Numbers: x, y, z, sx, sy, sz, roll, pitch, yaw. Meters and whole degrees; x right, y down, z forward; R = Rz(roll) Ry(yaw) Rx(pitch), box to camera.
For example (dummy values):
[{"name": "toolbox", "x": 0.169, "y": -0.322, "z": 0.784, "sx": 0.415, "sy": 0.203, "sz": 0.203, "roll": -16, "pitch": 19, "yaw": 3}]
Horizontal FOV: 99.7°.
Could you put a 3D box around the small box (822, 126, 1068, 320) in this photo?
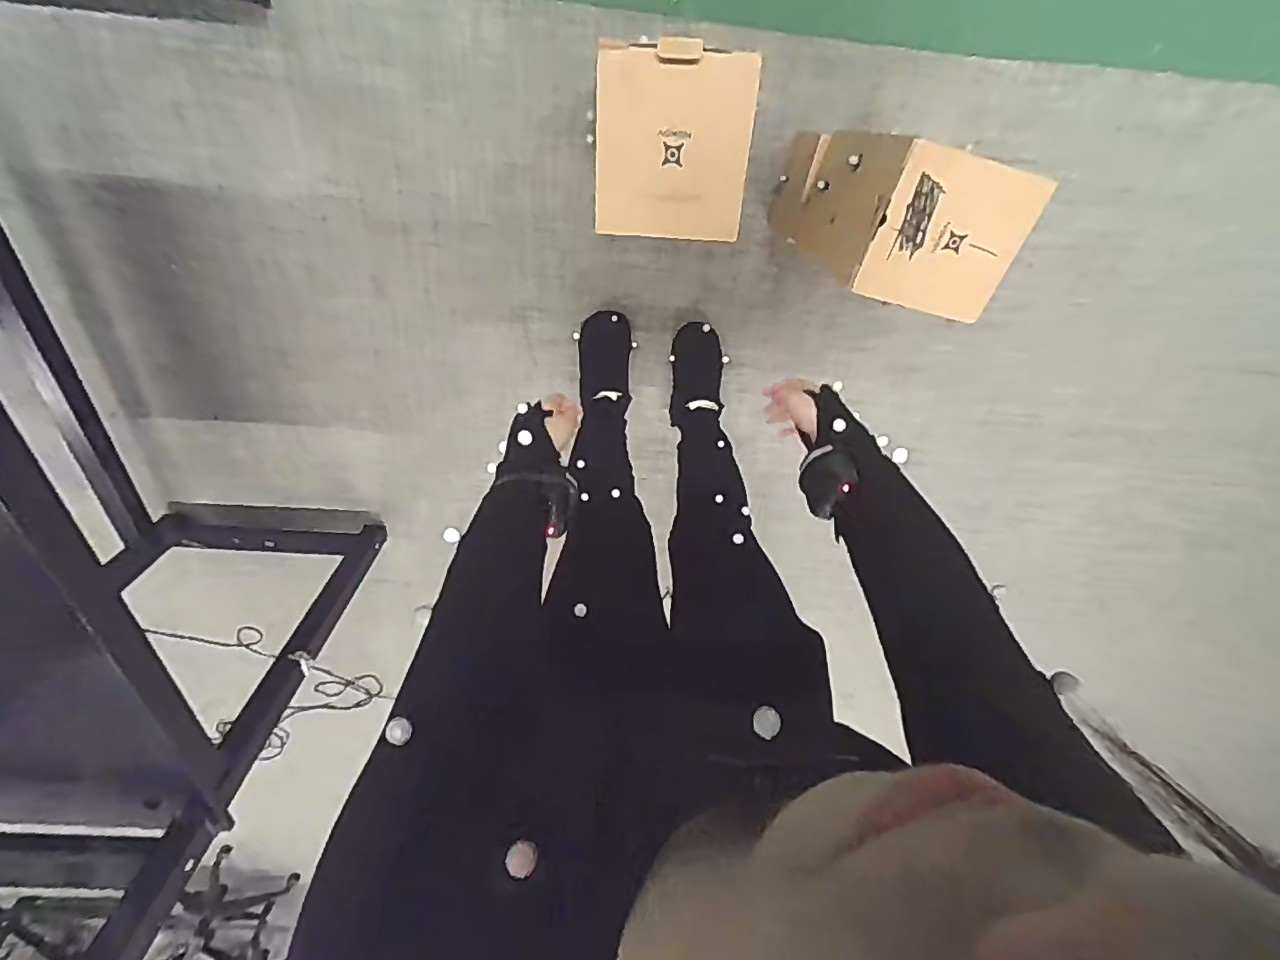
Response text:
[{"name": "small box", "x": 0.353, "y": -0.321, "z": 0.672, "sx": 0.179, "sy": 0.176, "sz": 0.168, "roll": 11, "pitch": 123, "yaw": -8}]

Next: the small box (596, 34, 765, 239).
[{"name": "small box", "x": 0.037, "y": -0.392, "z": 0.629, "sx": 0.168, "sy": 0.176, "sz": 0.179, "roll": 2, "pitch": 124, "yaw": 0}]

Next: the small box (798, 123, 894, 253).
[{"name": "small box", "x": 0.360, "y": -0.412, "z": 0.809, "sx": 0.179, "sy": 0.176, "sz": 0.168, "roll": 13, "pitch": 123, "yaw": -9}]
